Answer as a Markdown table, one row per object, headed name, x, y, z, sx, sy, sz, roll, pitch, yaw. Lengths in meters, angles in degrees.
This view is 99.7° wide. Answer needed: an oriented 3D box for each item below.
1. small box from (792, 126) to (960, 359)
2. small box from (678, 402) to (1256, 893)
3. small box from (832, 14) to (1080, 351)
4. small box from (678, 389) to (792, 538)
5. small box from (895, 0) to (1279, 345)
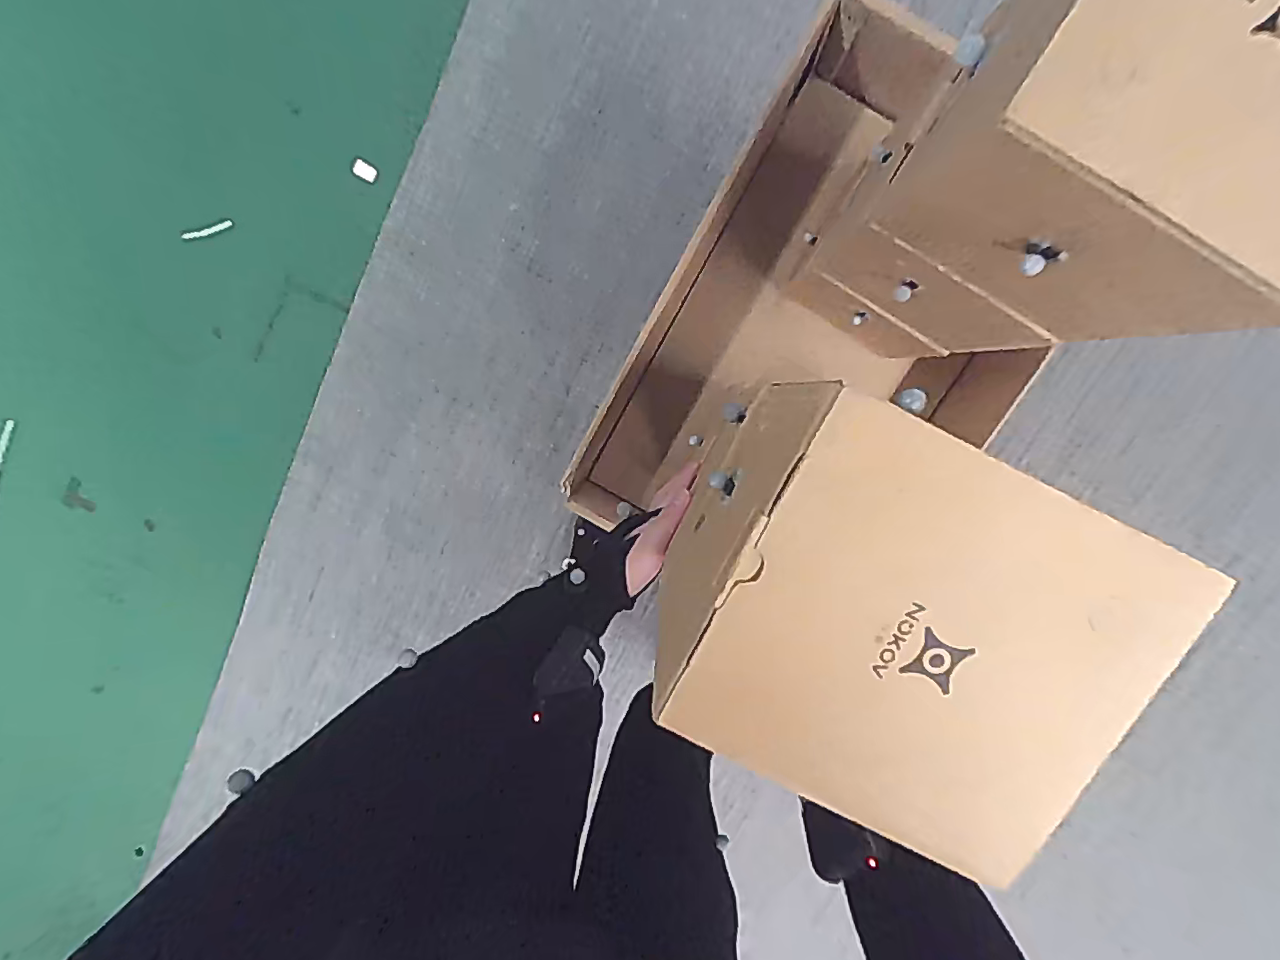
| name | x | y | z | sx | sy | sz | roll | pitch | yaw |
| --- | --- | --- | --- | --- | --- | --- | --- | --- | --- |
| small box | 0.303 | -0.251 | 0.626 | 0.179 | 0.176 | 0.168 | 33 | 101 | -4 |
| small box | 0.134 | 0.062 | 0.302 | 0.179 | 0.176 | 0.168 | 27 | 100 | -1 |
| small box | 0.297 | -0.222 | 0.464 | 0.179 | 0.176 | 0.168 | 32 | 102 | -2 |
| small box | 0.157 | 0.005 | 0.622 | 0.179 | 0.176 | 0.168 | 28 | 99 | -1 |
| small box | 0.288 | -0.190 | 0.303 | 0.179 | 0.176 | 0.168 | 31 | 101 | -2 |
